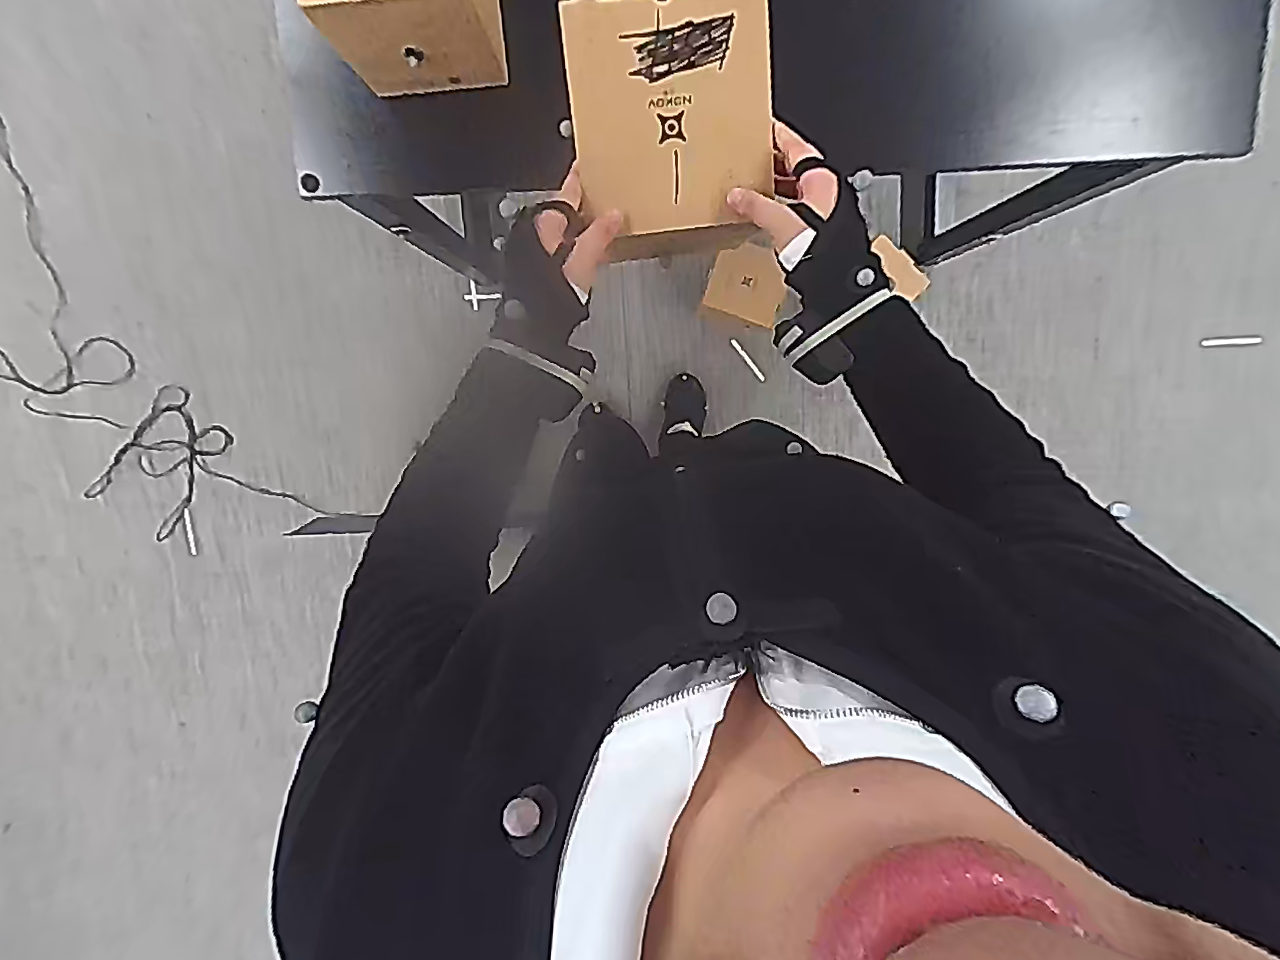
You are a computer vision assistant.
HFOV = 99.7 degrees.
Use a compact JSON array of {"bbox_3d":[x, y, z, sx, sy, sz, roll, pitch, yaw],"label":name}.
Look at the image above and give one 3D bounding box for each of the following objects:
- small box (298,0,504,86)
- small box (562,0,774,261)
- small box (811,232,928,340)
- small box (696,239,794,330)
[{"bbox_3d":[-0.252,-0.555,0.577,0.168,0.176,0.179,-5,100,0],"label":"small box"},{"bbox_3d":[0.024,-0.320,0.519,0.168,0.176,0.179,-6,106,1],"label":"small box"},{"bbox_3d":[0.553,-0.468,1.330,0.168,0.176,0.179,40,98,-6],"label":"small box"},{"bbox_3d":[0.250,-0.477,1.333,0.179,0.176,0.168,18,99,-2],"label":"small box"}]
